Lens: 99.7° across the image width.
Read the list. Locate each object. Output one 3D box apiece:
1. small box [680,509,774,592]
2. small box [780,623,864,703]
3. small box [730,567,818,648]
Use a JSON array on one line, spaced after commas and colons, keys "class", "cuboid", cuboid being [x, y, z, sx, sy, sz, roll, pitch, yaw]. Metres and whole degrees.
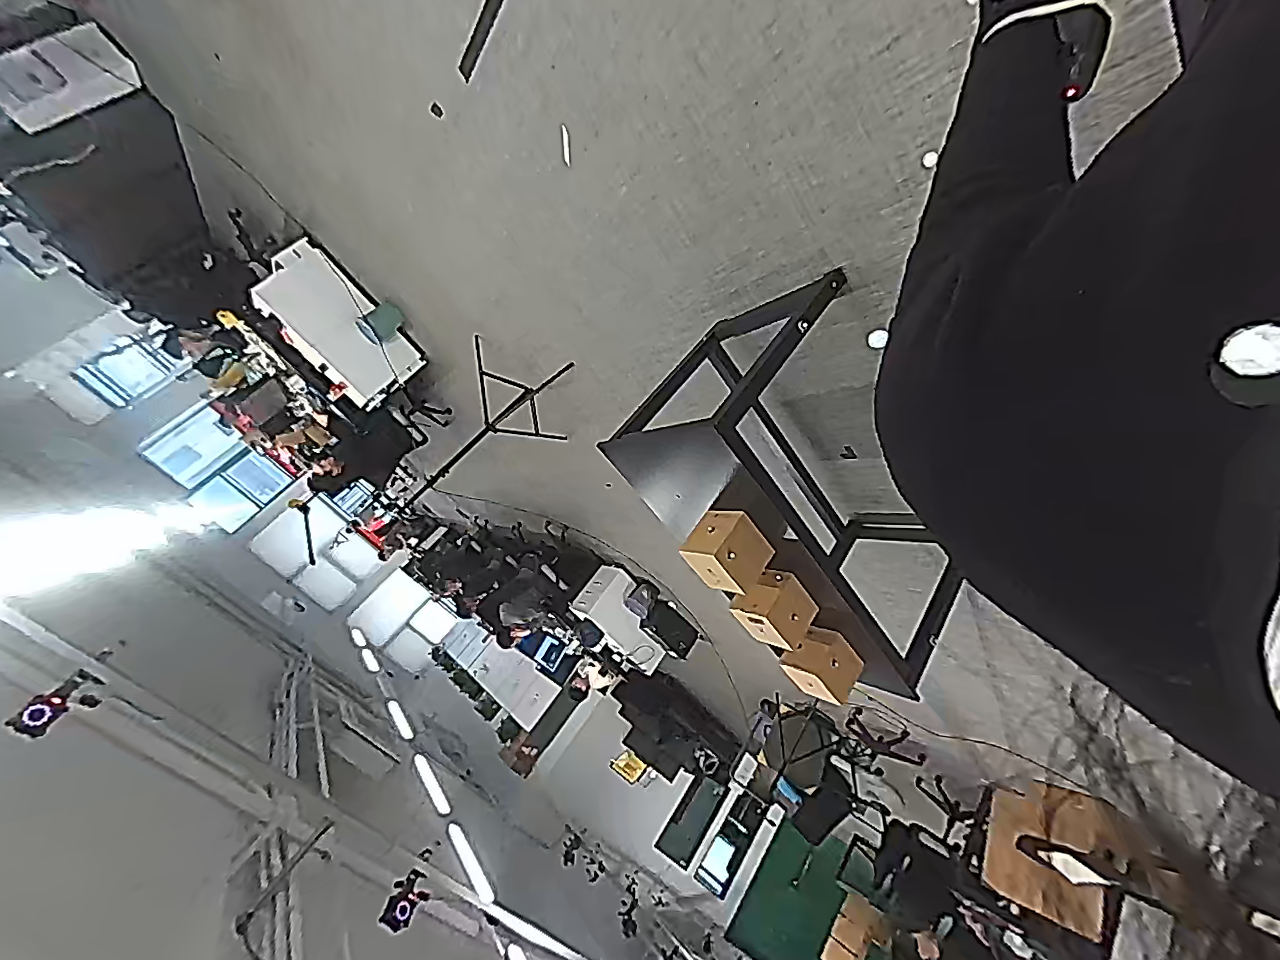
[{"class": "small box", "cuboid": [0.258, 0.200, 1.595, 0.179, 0.176, 0.168, 49, 156, -21]}, {"class": "small box", "cuboid": [0.605, 0.599, 1.795, 0.179, 0.176, 0.168, 48, 156, -19]}, {"class": "small box", "cuboid": [0.421, 0.391, 1.695, 0.179, 0.176, 0.168, 49, 155, -23]}]
